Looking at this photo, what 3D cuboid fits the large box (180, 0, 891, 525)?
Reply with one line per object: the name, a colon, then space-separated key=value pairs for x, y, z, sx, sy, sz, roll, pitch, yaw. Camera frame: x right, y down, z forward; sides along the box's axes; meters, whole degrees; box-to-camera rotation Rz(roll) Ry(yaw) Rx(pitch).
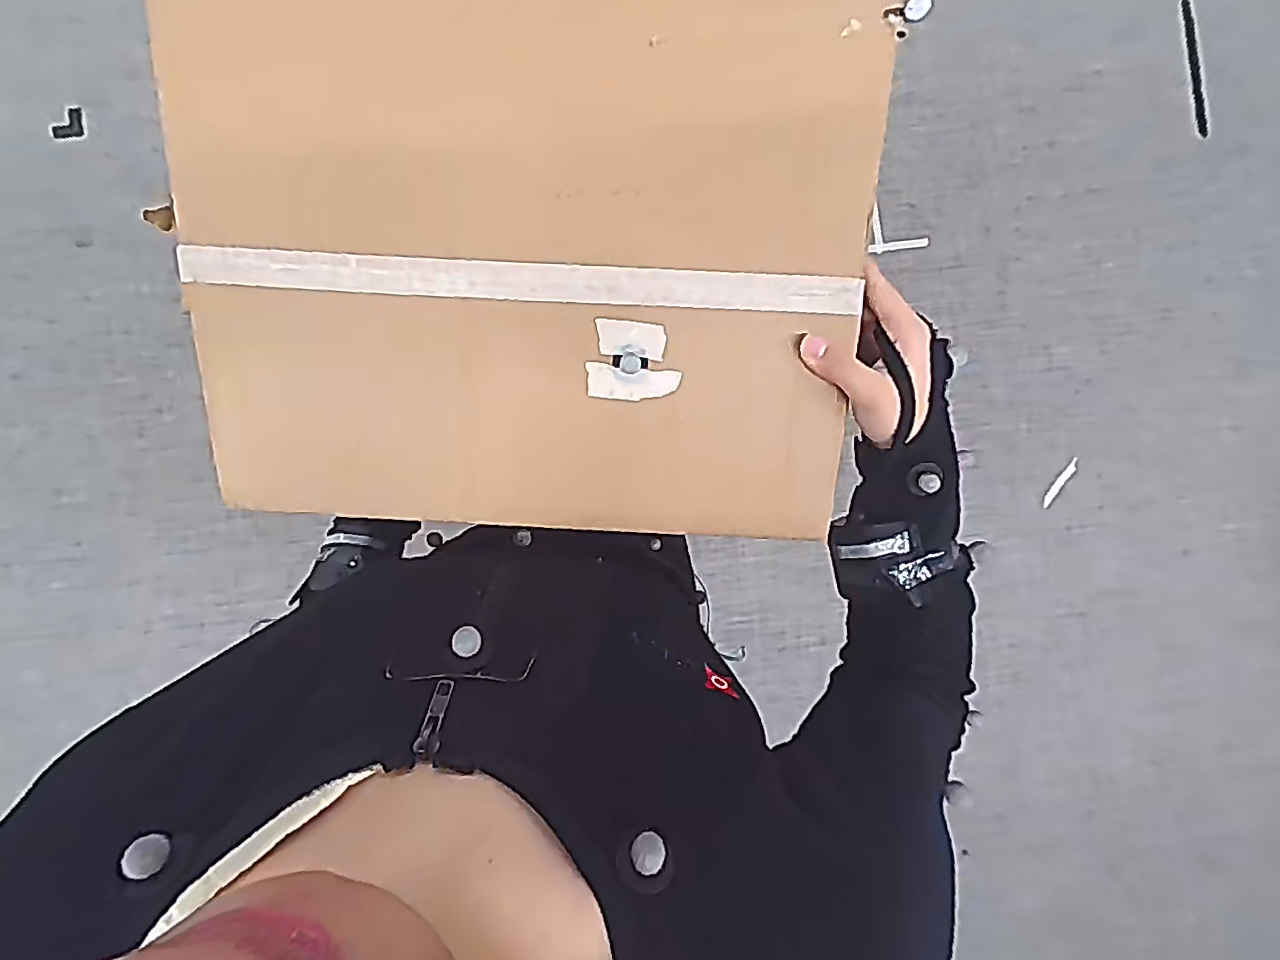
large box: x=-0.063 y=-0.157 z=0.480 sx=0.408 sy=0.320 sz=0.320 roll=2 pitch=105 yaw=-1
